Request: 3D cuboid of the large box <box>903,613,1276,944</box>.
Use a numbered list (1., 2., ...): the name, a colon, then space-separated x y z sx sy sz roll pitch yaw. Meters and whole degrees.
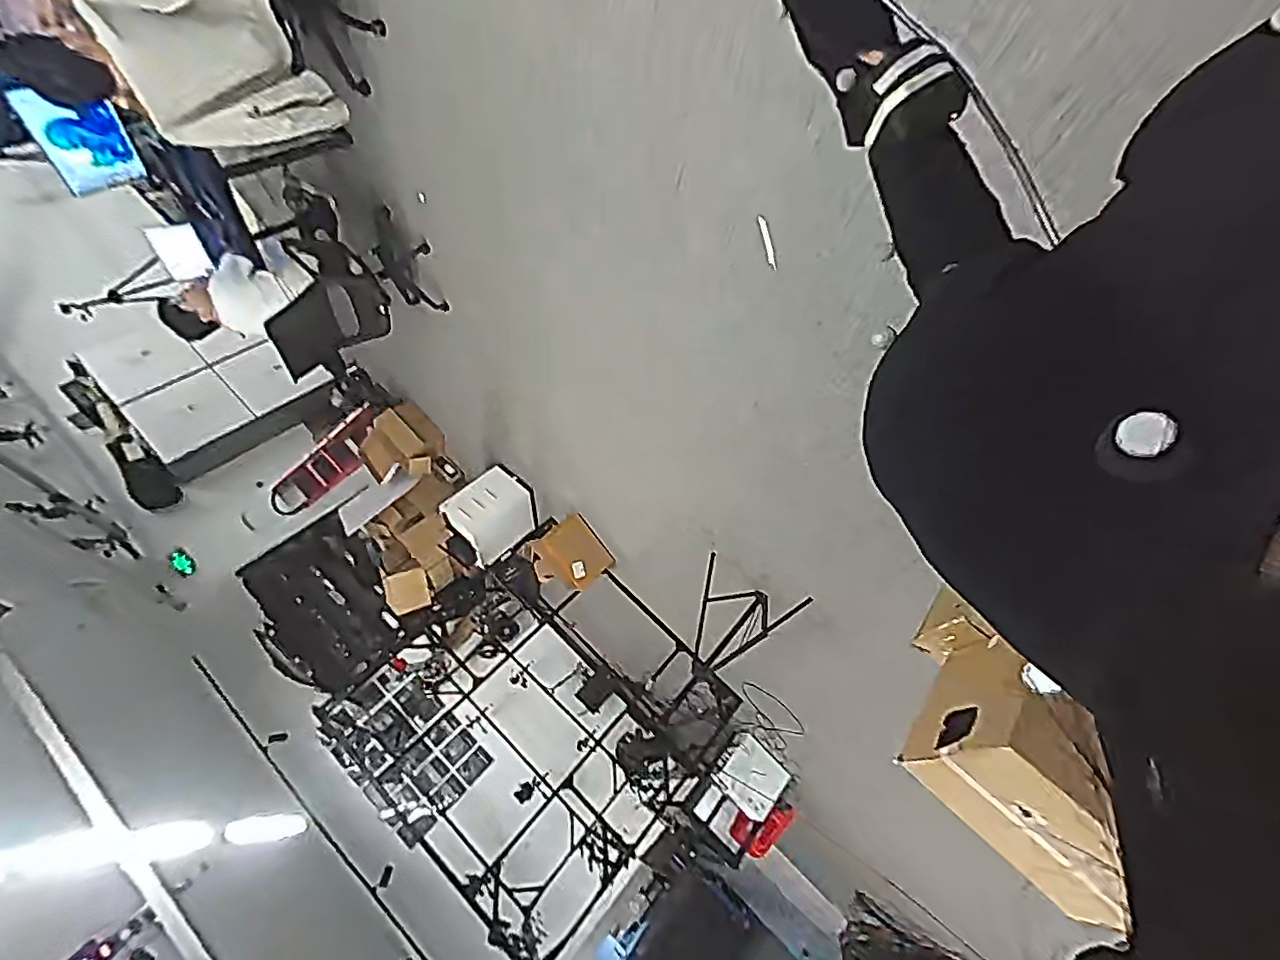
1. large box: 0.813 0.532 1.018 0.408 0.320 0.320 41 149 15
